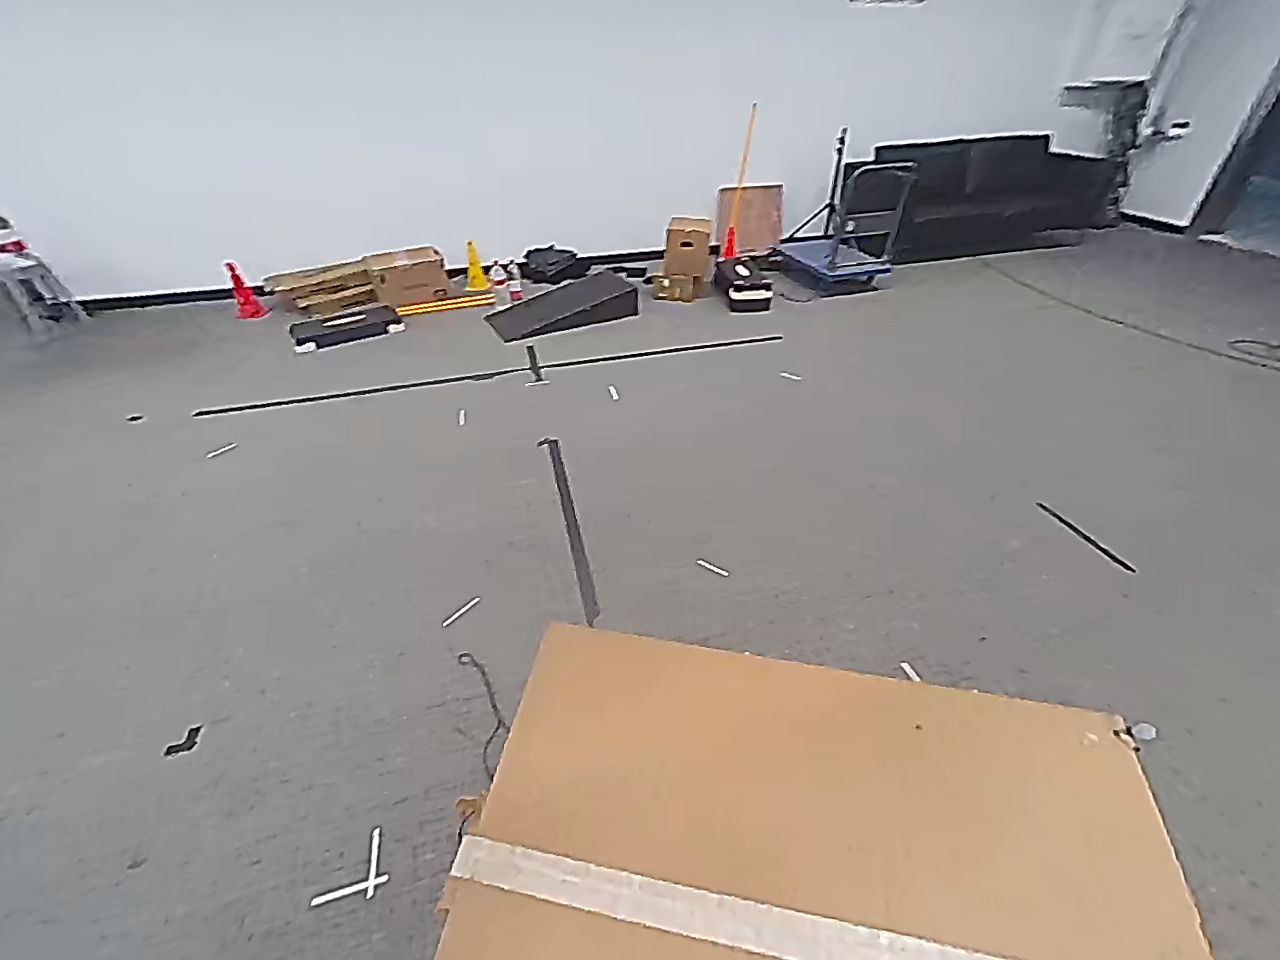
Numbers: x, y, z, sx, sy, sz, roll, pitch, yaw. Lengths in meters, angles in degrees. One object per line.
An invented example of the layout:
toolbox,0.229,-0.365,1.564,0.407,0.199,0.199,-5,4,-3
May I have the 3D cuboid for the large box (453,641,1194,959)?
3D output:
large box,0.100,0.356,0.411,0.408,0.320,0.320,6,49,8
